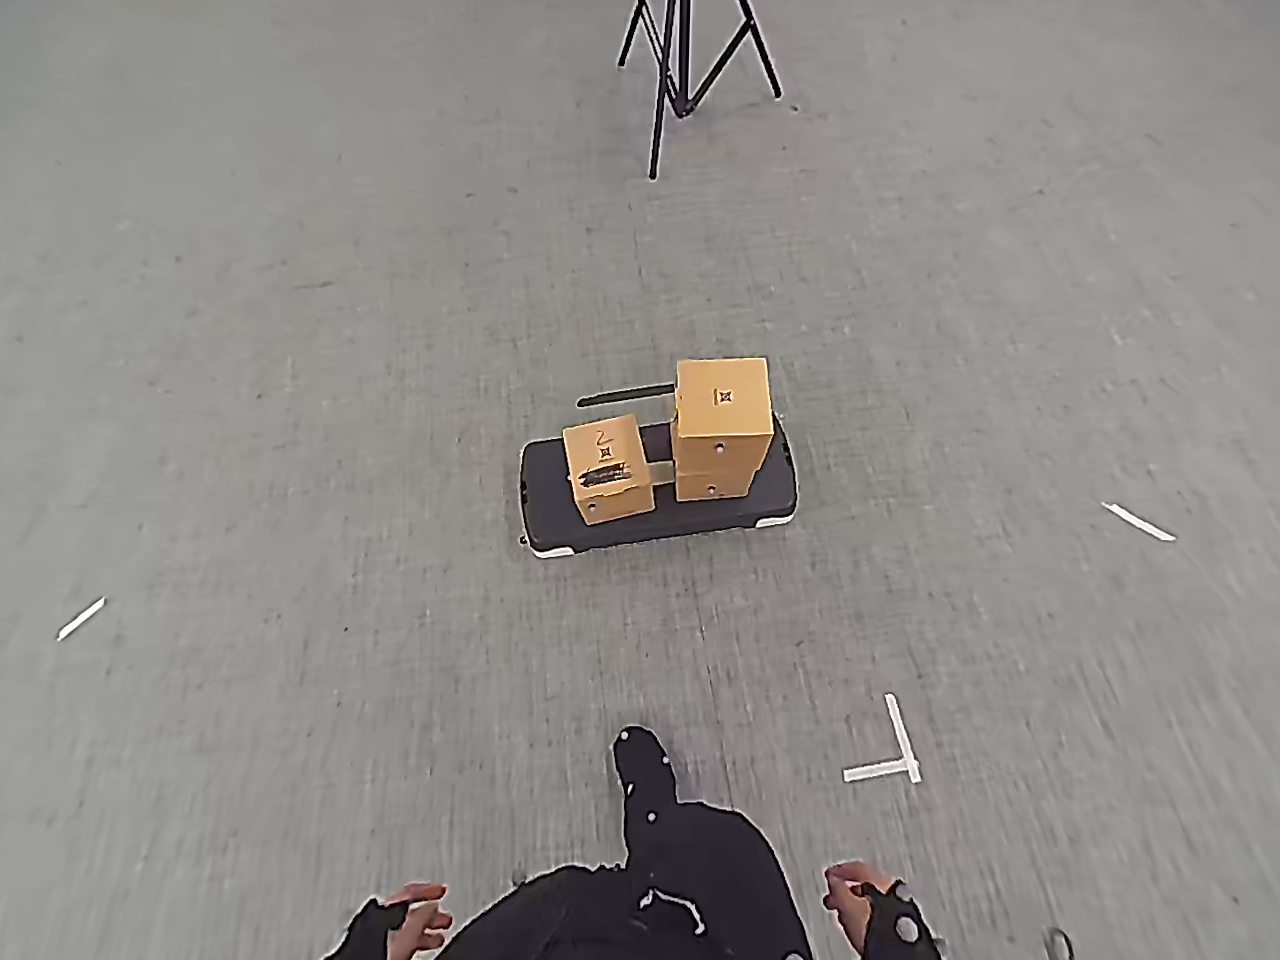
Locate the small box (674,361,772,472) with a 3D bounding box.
[{"bbox_3d":[0.157,-0.121,1.079,0.179,0.176,0.168,-2,69,4],"label":"small box"}]

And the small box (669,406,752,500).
[{"bbox_3d":[0.155,-0.060,1.230,0.168,0.176,0.179,-4,68,1],"label":"small box"}]
